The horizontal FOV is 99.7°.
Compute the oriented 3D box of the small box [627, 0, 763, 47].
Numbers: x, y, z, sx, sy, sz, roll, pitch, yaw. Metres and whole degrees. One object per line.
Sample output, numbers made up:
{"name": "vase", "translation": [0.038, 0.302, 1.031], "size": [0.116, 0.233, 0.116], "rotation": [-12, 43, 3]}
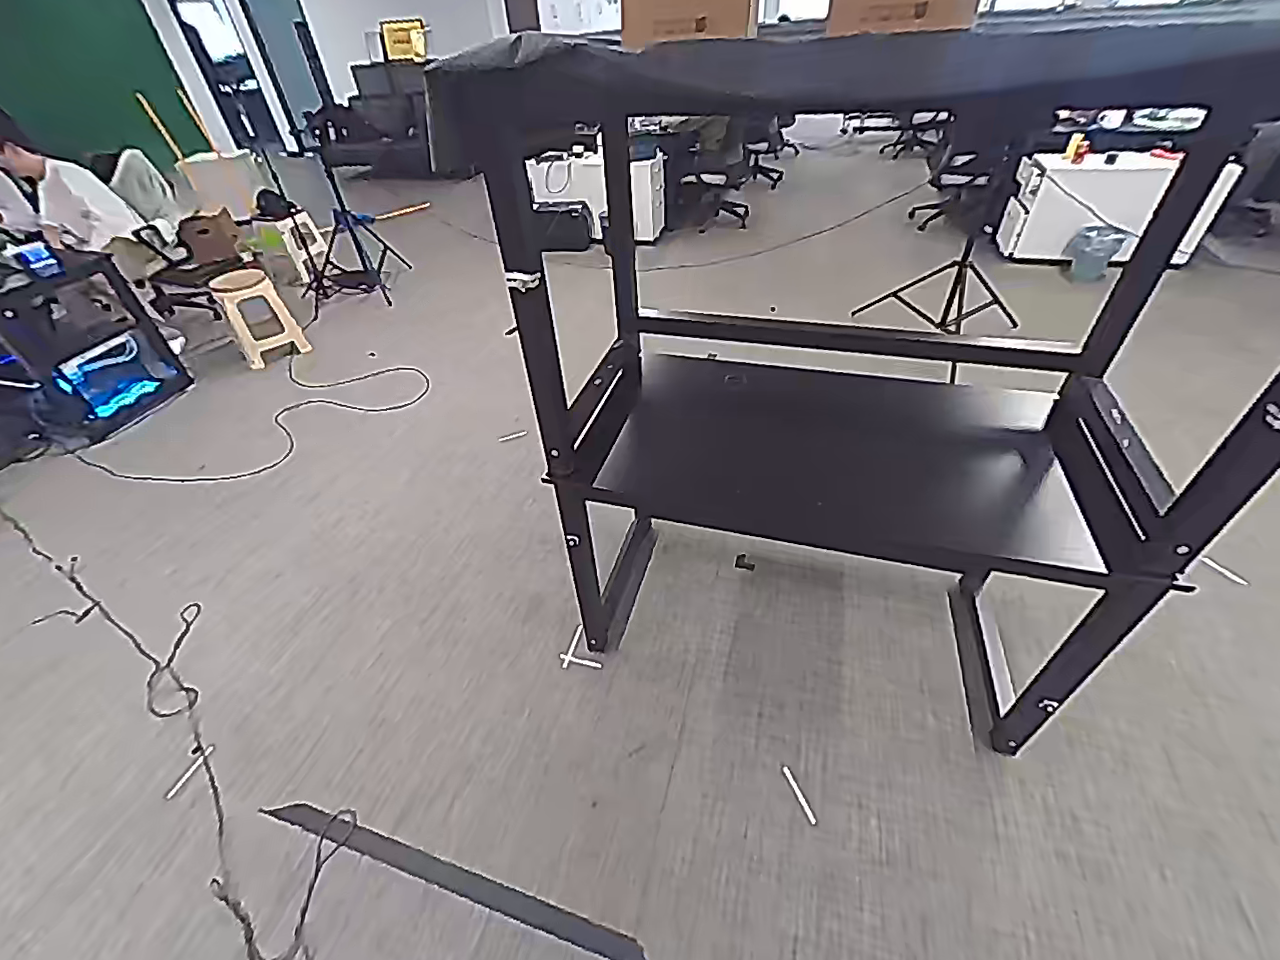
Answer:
{"name": "small box", "translation": [0.077, -0.674, 0.701], "size": [0.168, 0.176, 0.179], "rotation": [7, 41, 11]}
